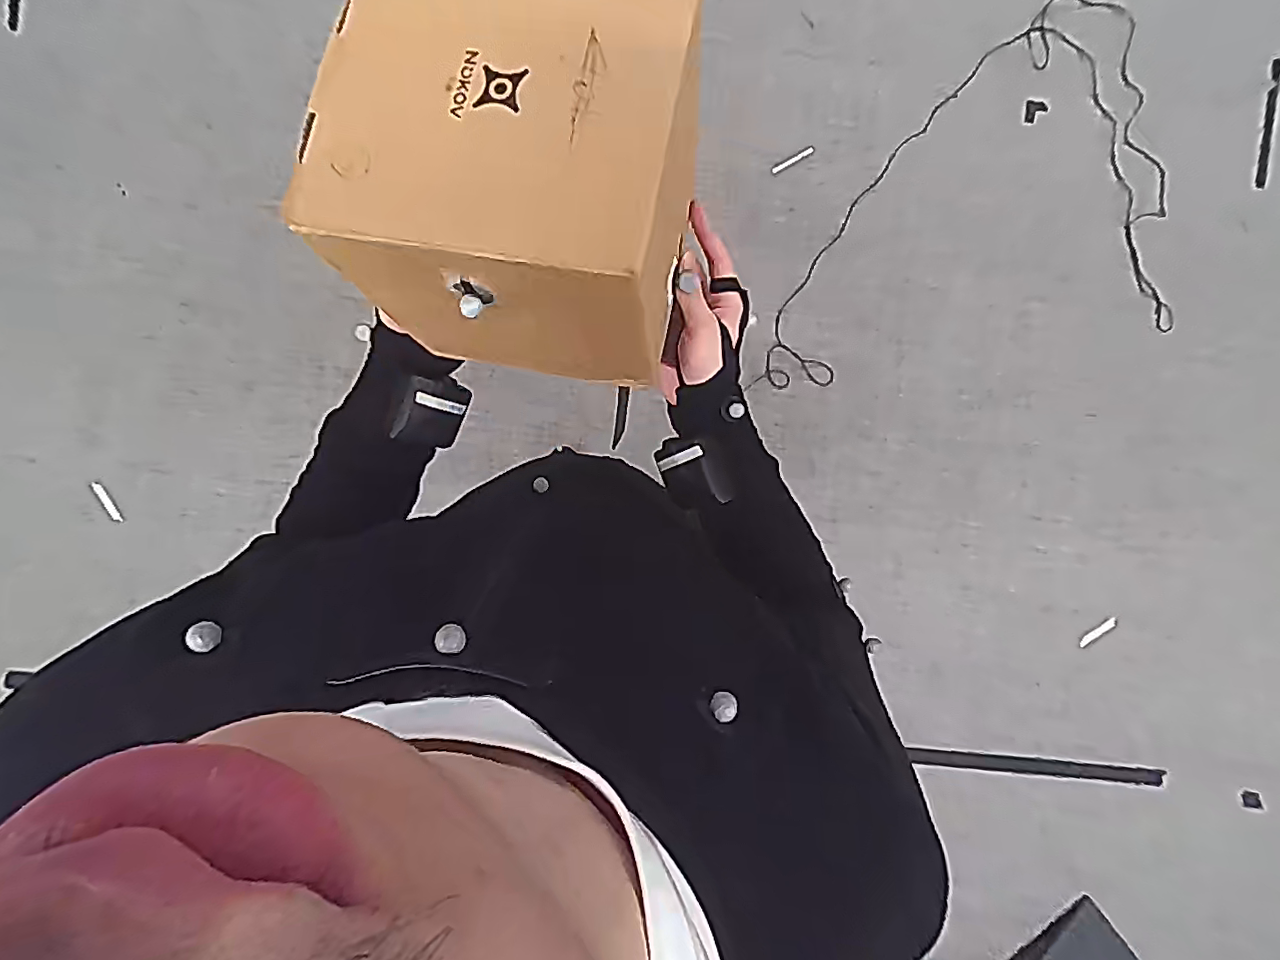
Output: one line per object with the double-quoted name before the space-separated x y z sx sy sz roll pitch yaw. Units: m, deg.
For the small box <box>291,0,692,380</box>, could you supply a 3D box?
"small box" -0.067 -0.176 0.346 0.179 0.176 0.168 10 82 5
